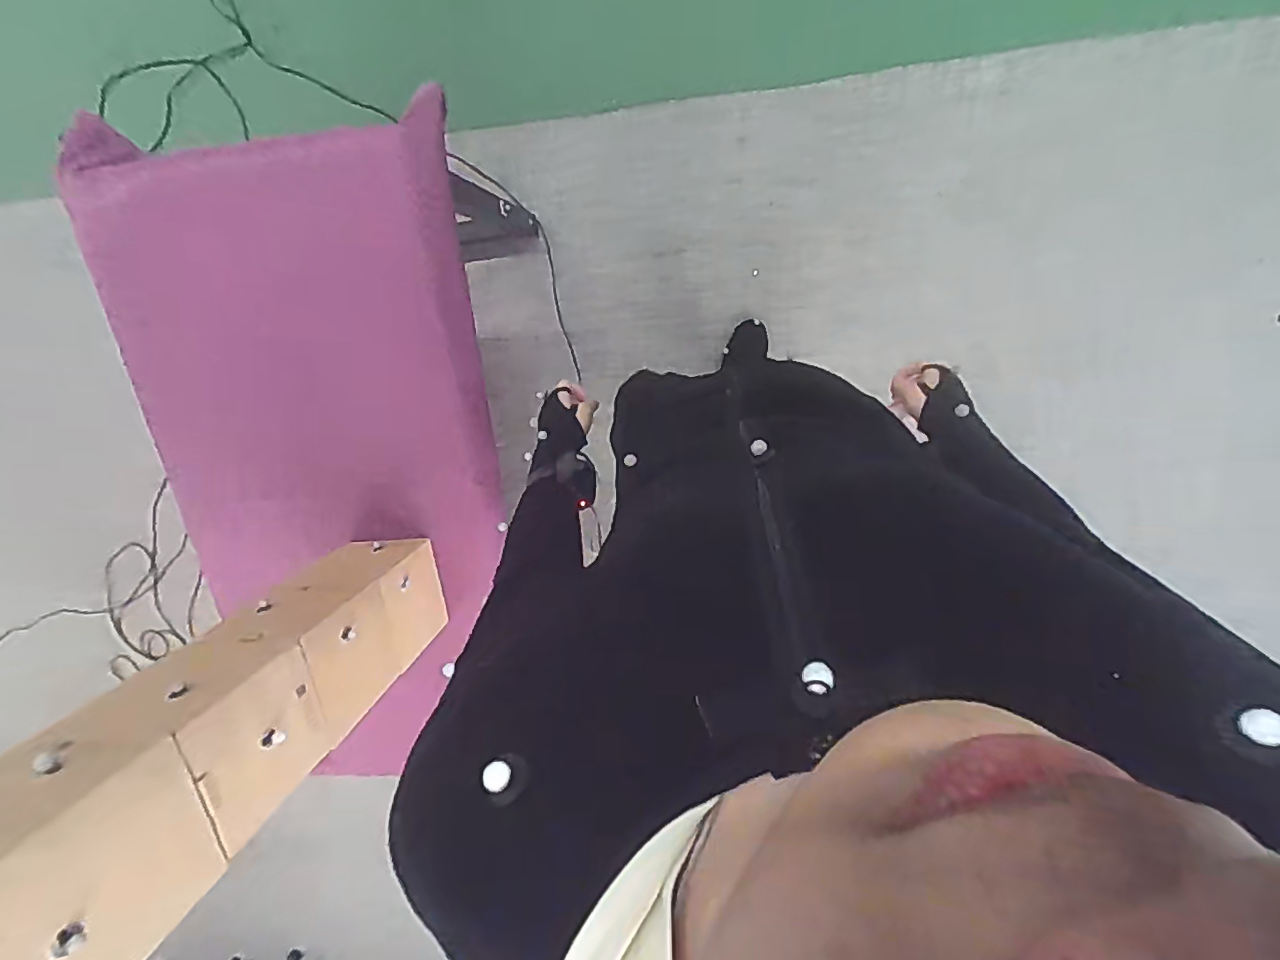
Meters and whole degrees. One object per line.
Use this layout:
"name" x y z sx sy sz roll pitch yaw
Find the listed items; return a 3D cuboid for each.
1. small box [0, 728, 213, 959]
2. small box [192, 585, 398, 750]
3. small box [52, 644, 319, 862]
"small box" -0.537 0.353 0.482 0.168 0.176 0.179 -5 104 10
"small box" -0.488 0.263 0.793 0.168 0.176 0.179 -4 106 10
"small box" -0.517 0.309 0.639 0.179 0.176 0.168 -5 105 9
